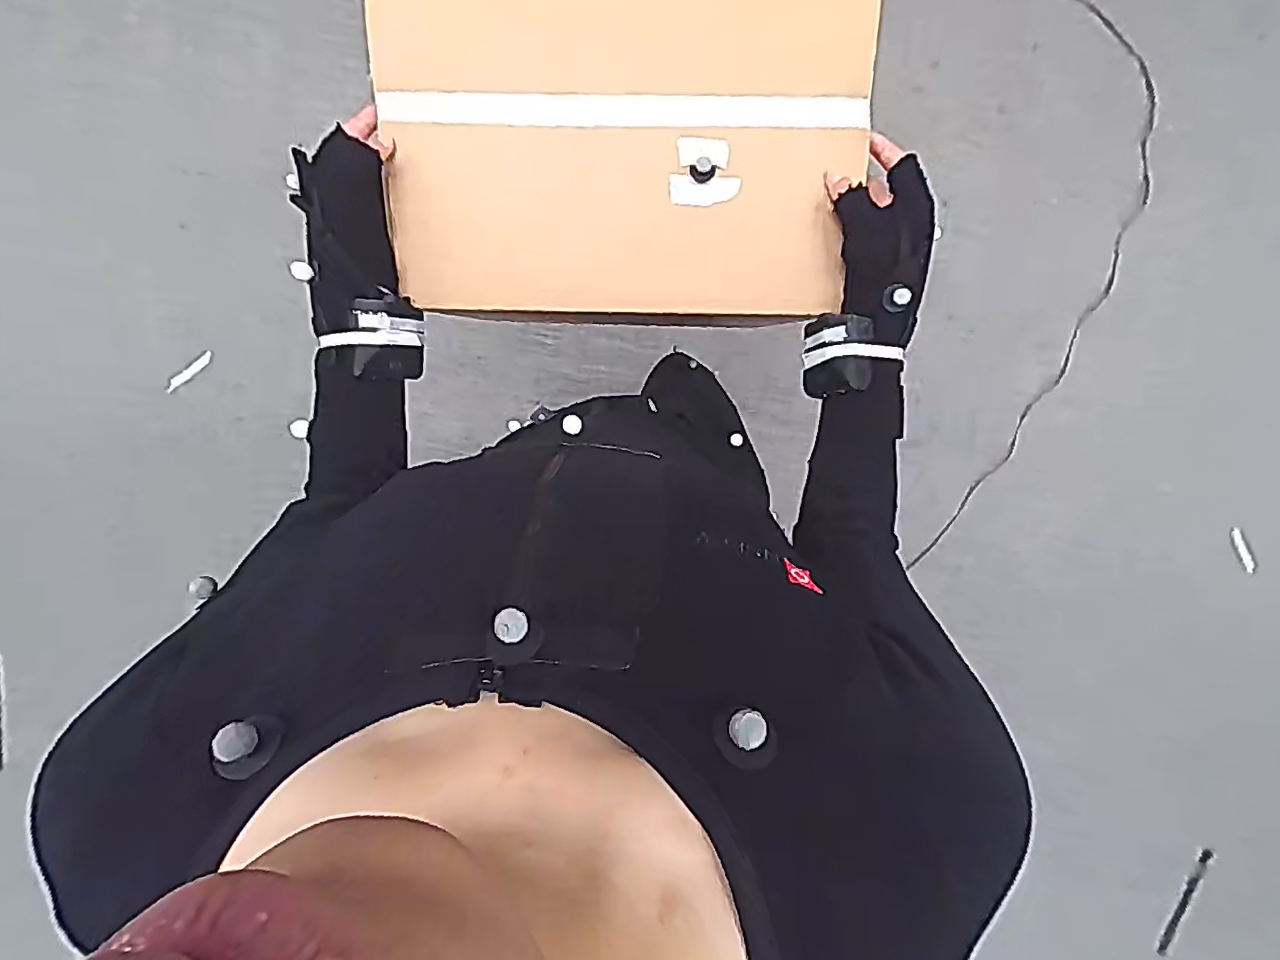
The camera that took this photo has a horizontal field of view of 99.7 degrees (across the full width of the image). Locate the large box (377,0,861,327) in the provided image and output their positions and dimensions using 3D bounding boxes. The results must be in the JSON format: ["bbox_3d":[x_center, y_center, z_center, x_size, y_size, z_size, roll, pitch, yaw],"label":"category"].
[{"bbox_3d":[-0.018,-0.342,0.605,0.408,0.320,0.320,0,104,0],"label":"large box"}]
